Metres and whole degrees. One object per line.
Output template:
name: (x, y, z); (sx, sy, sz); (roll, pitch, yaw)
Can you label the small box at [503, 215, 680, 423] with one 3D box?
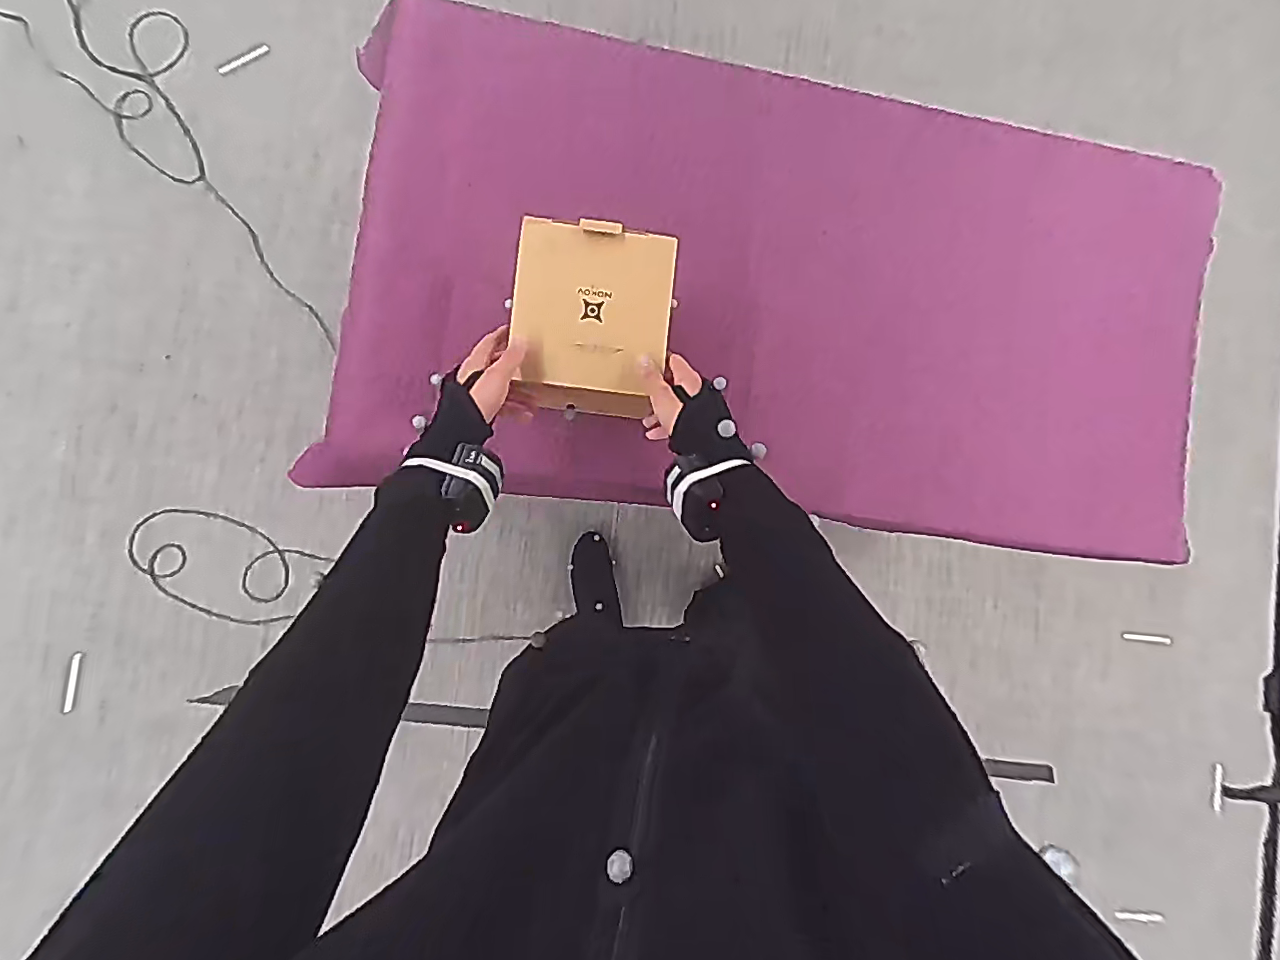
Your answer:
small box: (-0.056, -0.174, 0.636); (0.168, 0.176, 0.179); (7, 88, -5)
